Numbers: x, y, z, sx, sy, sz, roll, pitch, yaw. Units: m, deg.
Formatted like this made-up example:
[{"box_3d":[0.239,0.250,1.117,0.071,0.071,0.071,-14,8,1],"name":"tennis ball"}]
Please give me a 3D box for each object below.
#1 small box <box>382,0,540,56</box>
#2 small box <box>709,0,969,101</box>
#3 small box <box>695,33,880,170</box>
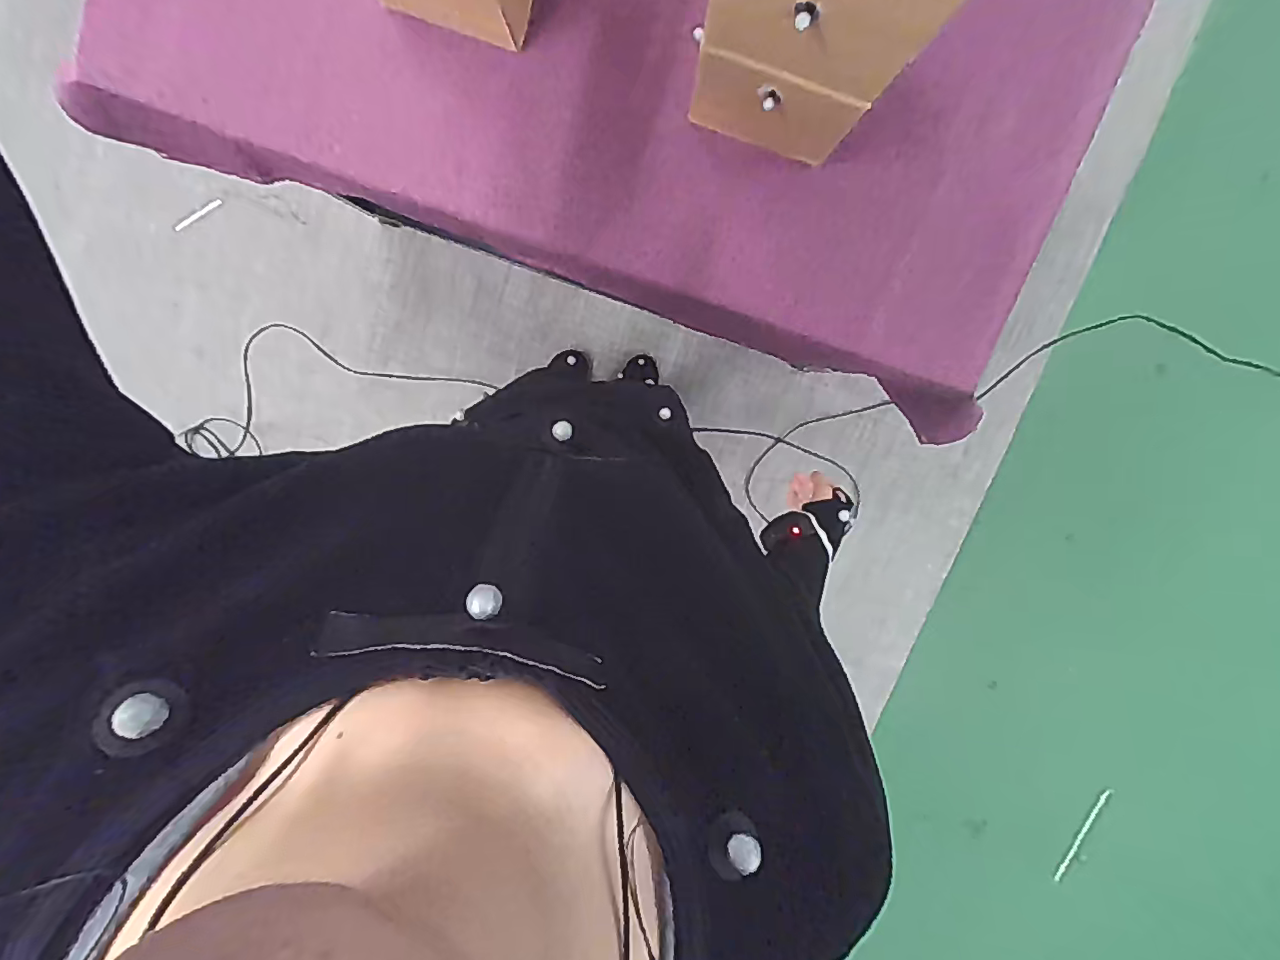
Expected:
[{"box_3d":[-0.201,-0.596,0.566,0.179,0.176,0.168,16,101,-3],"name":"small box"},{"box_3d":[0.167,-0.439,0.424,0.179,0.176,0.168,18,101,-2],"name":"small box"},{"box_3d":[0.169,-0.469,0.585,0.179,0.176,0.168,18,101,-4],"name":"small box"}]
